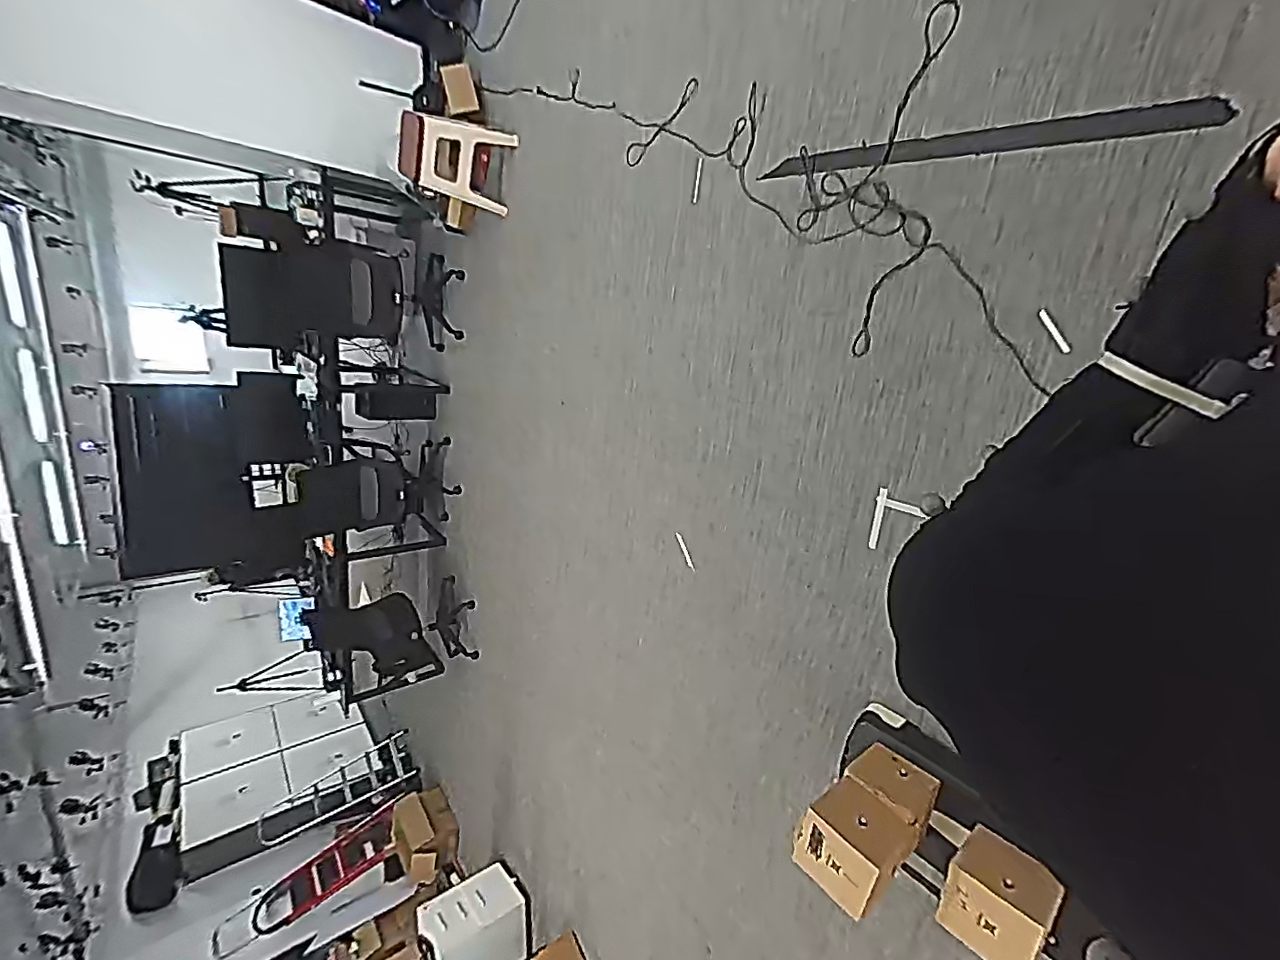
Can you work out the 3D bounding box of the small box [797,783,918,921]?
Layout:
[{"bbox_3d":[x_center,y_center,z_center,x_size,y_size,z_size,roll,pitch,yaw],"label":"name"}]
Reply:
[{"bbox_3d":[0.497,0.836,1.241,0.179,0.176,0.168,28,117,44],"label":"small box"}]

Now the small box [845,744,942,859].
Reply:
[{"bbox_3d":[0.622,0.804,1.344,0.168,0.176,0.179,21,111,47],"label":"small box"}]
